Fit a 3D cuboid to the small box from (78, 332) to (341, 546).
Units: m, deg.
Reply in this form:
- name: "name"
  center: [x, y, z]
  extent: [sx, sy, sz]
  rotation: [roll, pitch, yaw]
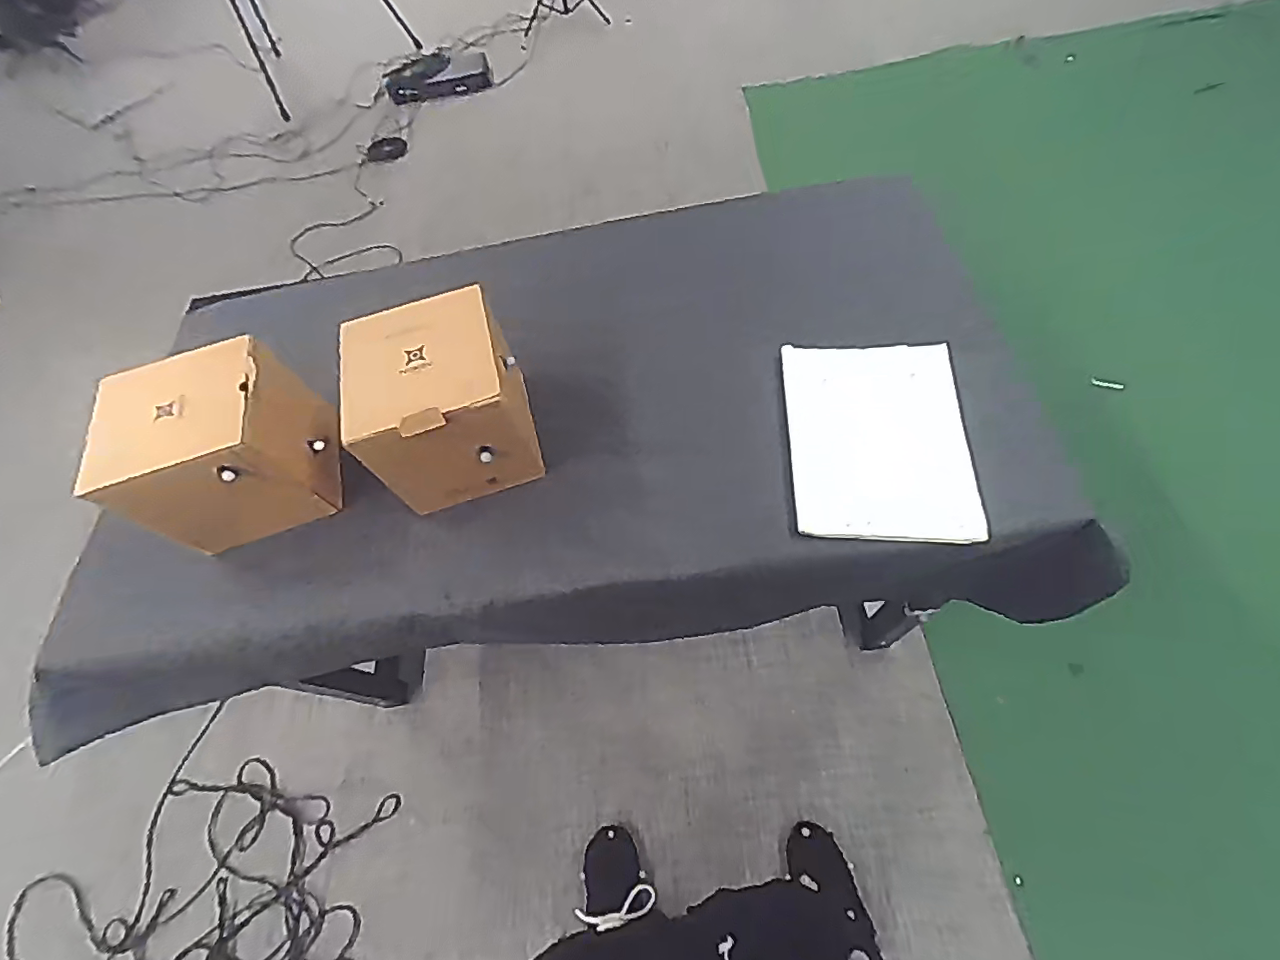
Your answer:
- name: "small box"
  center: [-0.495, -0.041, 0.654]
  extent: [0.179, 0.176, 0.168]
  rotation: [-19, 60, -4]

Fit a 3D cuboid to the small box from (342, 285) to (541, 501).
- name: "small box"
  center: [-0.228, -0.092, 0.647]
  extent: [0.168, 0.176, 0.179]
  rotation: [-17, 59, -3]
